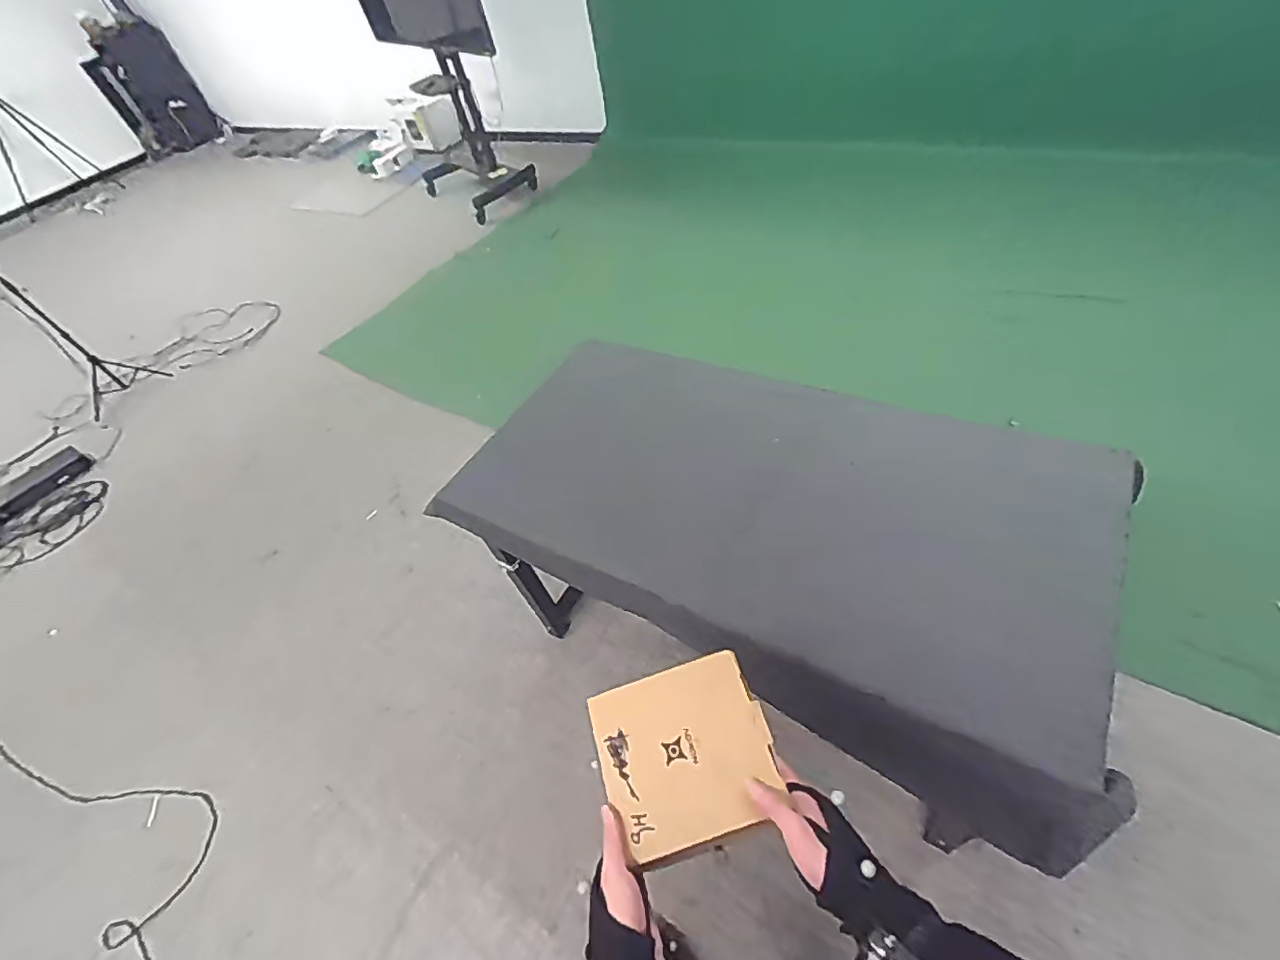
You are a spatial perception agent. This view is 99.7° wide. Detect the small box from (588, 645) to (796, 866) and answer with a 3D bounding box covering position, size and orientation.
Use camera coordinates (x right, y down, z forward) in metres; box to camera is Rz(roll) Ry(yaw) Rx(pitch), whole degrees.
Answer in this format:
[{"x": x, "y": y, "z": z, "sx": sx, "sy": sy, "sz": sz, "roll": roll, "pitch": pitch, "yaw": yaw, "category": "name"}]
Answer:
[{"x": 0.054, "y": 0.314, "z": 0.612, "sx": 0.179, "sy": 0.176, "sz": 0.168, "roll": -17, "pitch": 51, "yaw": -4, "category": "small box"}]
